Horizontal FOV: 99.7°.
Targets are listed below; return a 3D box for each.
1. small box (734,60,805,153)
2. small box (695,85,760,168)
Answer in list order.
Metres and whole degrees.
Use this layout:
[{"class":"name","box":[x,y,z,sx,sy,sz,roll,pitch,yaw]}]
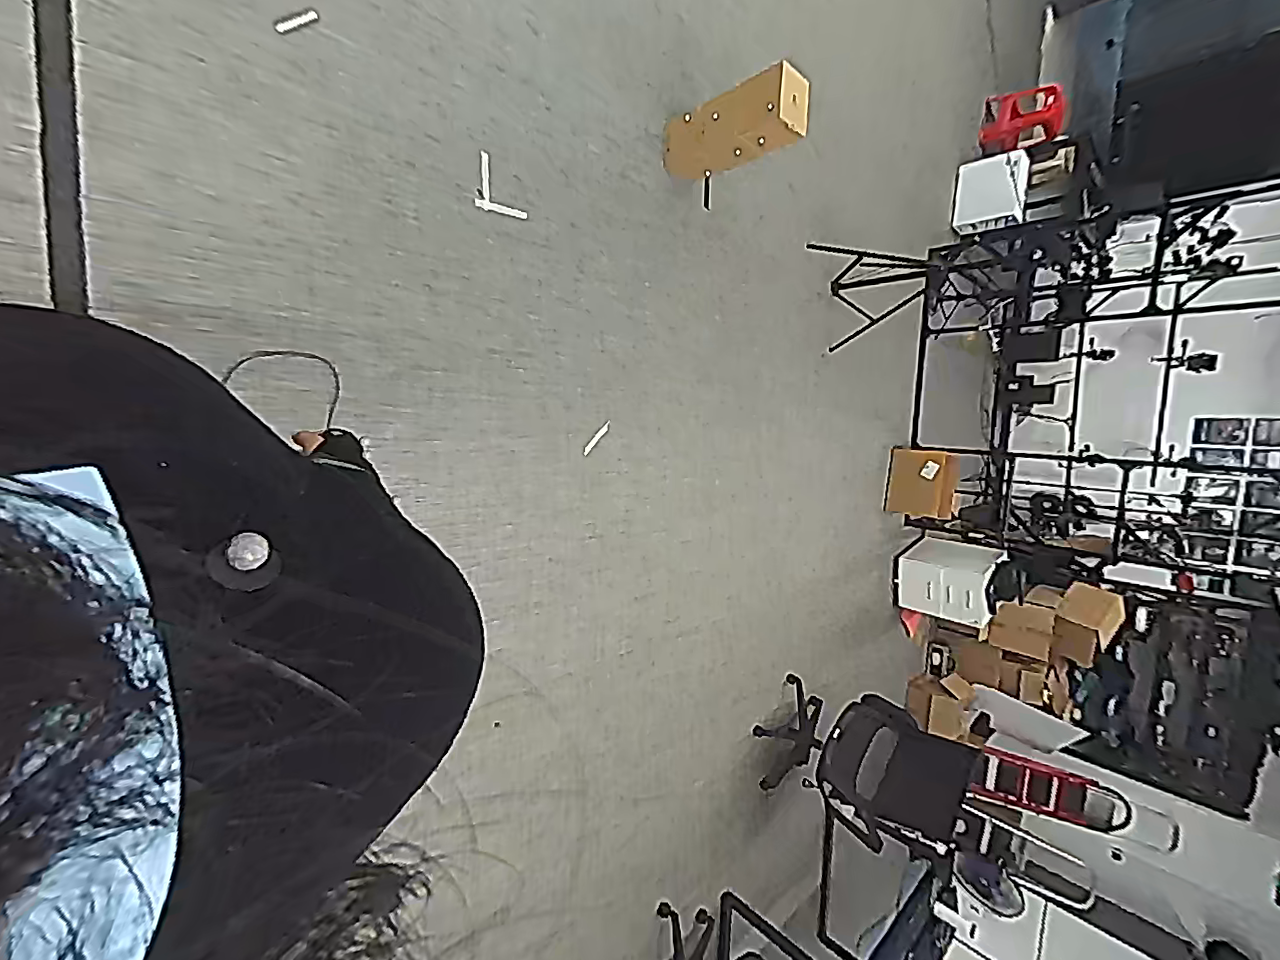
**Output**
[{"class":"small box","box":[0.431,-1.238,1.807,0.168,0.176,0.179,-4,99,-44]},{"class":"small box","box":[0.316,-1.245,1.921,0.179,0.176,0.168,2,95,-45]}]
